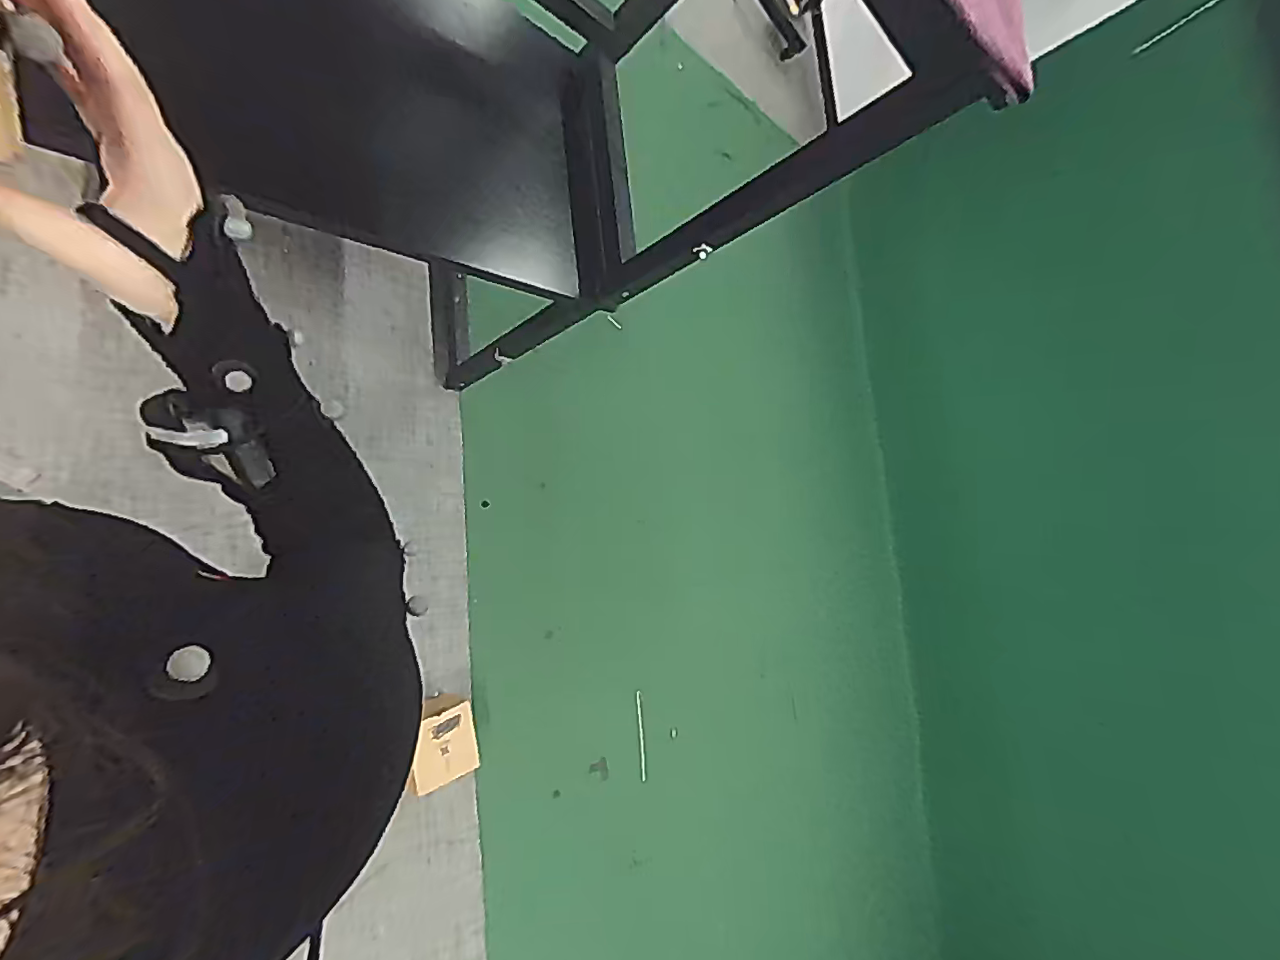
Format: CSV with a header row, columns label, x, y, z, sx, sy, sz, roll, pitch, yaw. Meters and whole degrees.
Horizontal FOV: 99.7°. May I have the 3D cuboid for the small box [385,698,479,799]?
label,x,y,z,sx,sy,sz,roll,pitch,yaw
small box,-0.544,0.684,1.406,0.168,0.176,0.179,-8,88,-44
